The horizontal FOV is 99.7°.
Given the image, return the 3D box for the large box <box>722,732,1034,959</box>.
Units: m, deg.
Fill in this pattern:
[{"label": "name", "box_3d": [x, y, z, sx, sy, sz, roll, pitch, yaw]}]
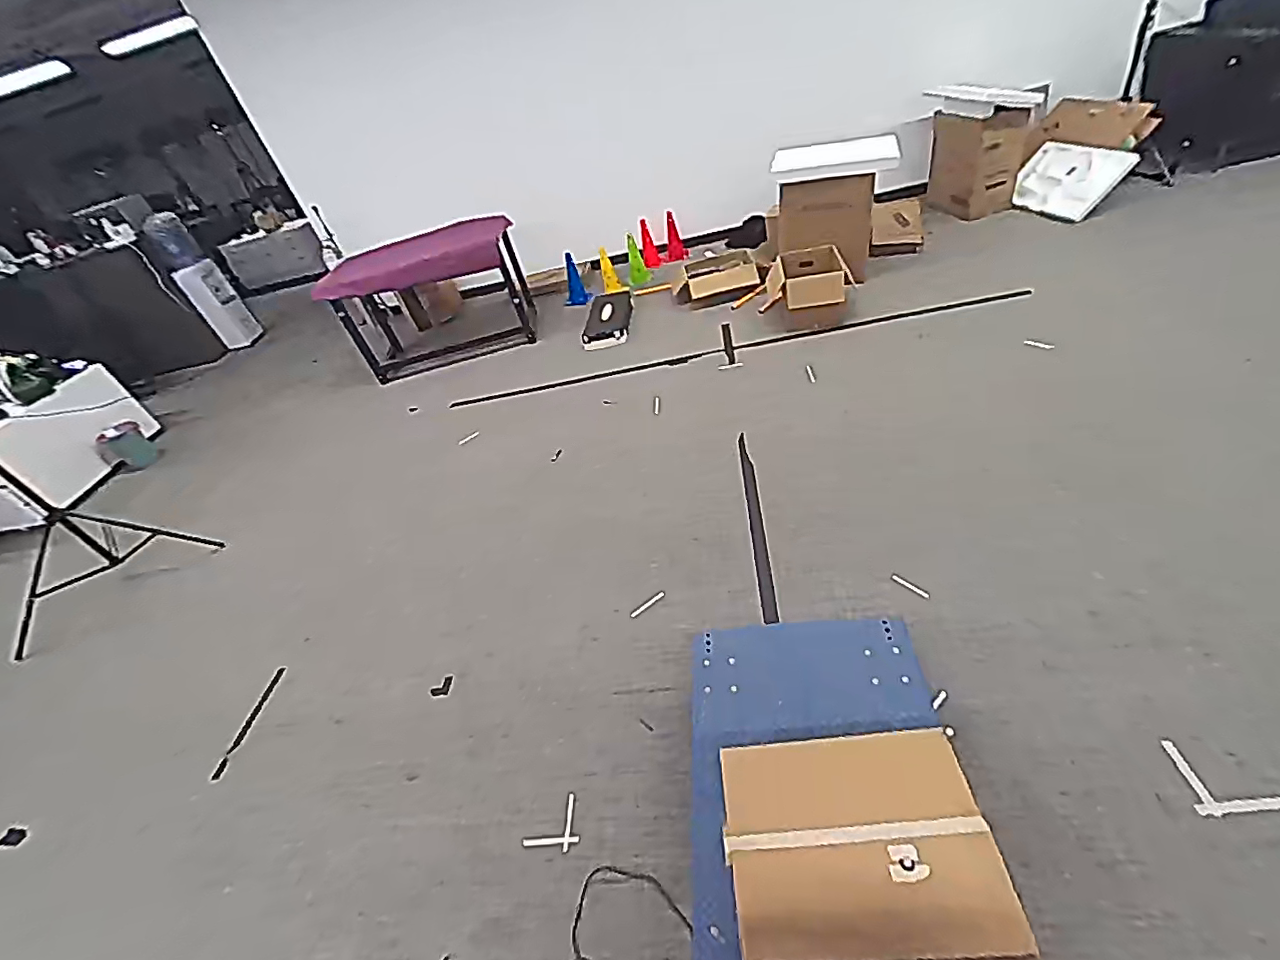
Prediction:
[{"label": "large box", "box_3d": [0.379, 0.697, 0.973, 0.408, 0.320, 0.320, -9, 40, 7]}]
